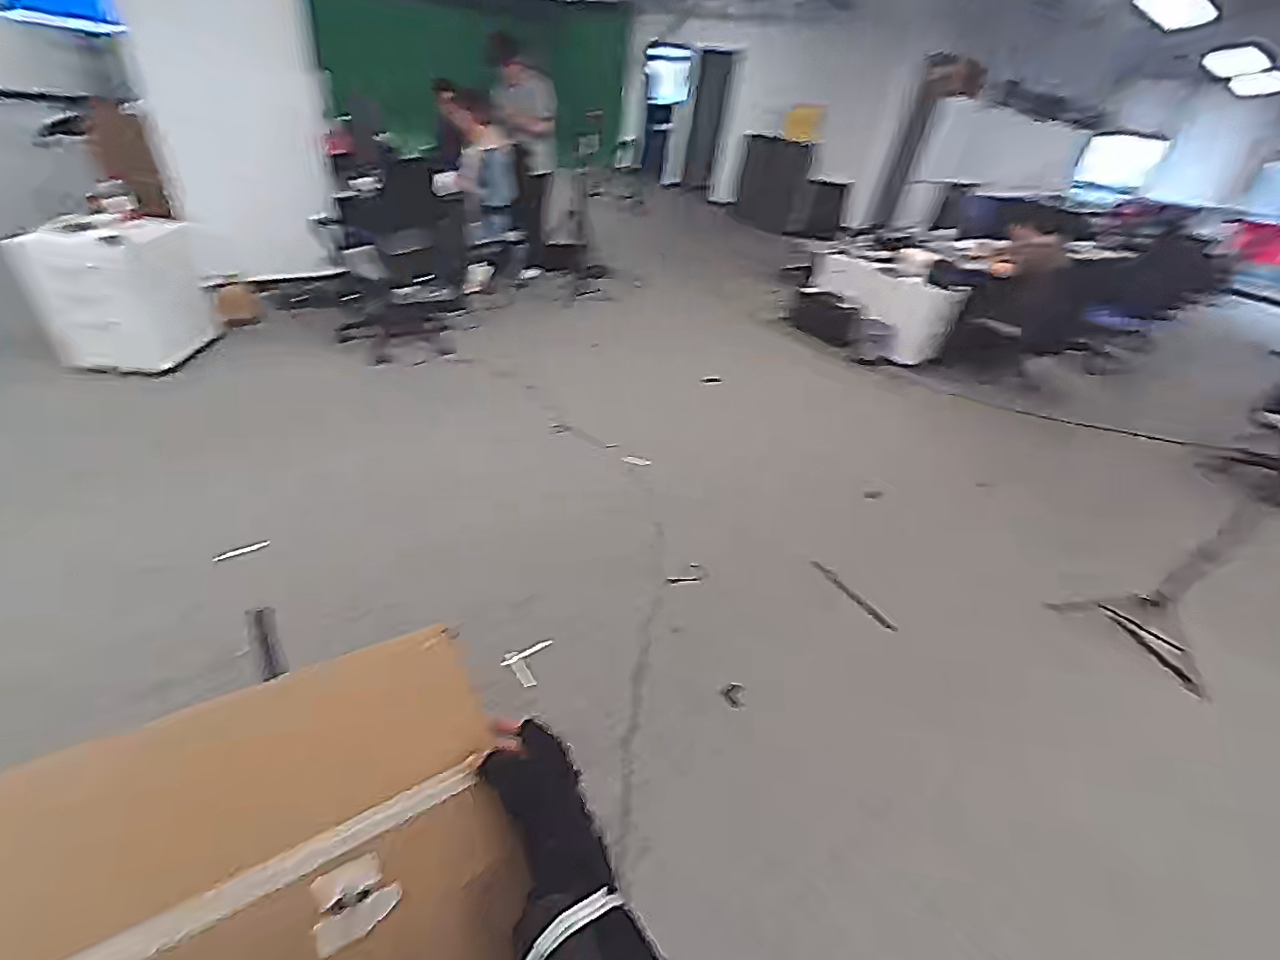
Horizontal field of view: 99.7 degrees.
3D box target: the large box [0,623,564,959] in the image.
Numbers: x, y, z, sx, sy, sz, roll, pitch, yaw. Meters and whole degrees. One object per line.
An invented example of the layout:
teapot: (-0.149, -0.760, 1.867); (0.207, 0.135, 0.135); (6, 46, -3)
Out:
large box: (-0.340, 0.409, 0.521); (0.408, 0.320, 0.320); (-15, 55, -33)
